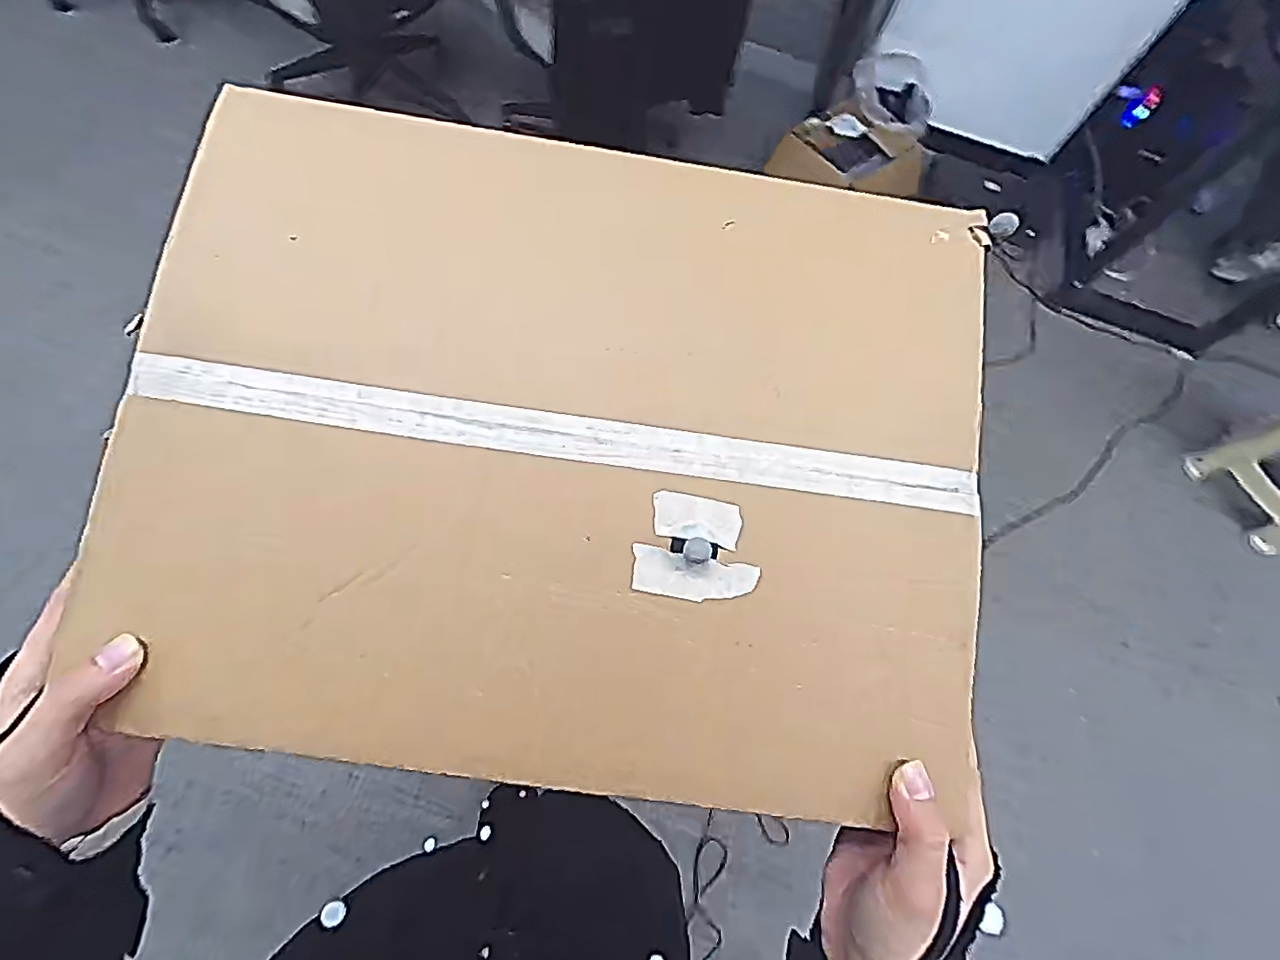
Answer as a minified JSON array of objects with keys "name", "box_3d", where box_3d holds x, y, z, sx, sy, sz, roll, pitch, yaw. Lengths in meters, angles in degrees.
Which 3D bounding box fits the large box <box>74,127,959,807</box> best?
[{"name":"large box","box_3d":[-0.047,0.007,0.417,0.408,0.320,0.320,8,81,-3]}]
